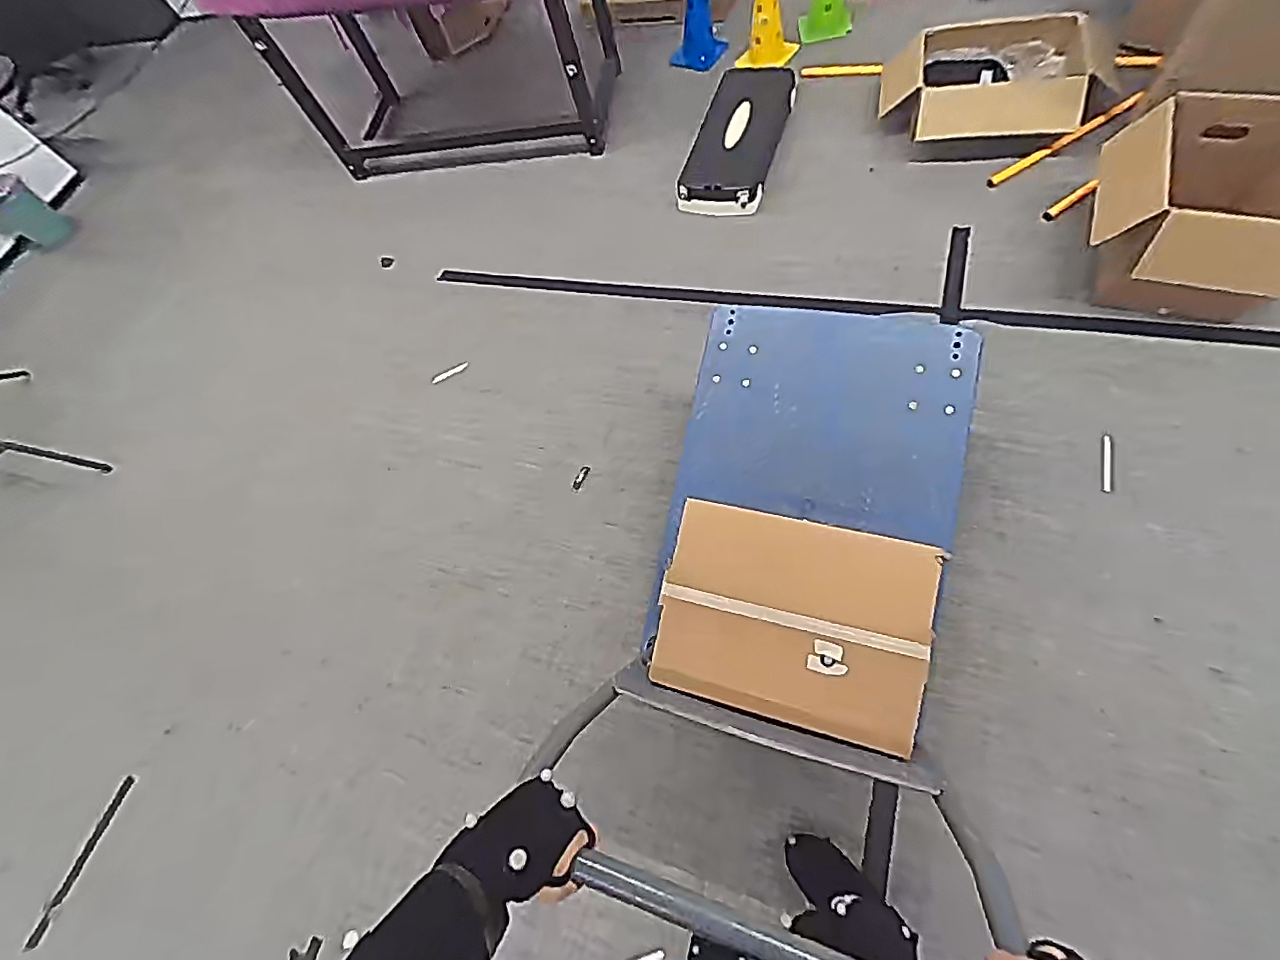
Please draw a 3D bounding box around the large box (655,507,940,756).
[{"bbox_3d":[0.275,0.249,1.001,0.408,0.320,0.320,11,84,16],"label":"large box"}]
